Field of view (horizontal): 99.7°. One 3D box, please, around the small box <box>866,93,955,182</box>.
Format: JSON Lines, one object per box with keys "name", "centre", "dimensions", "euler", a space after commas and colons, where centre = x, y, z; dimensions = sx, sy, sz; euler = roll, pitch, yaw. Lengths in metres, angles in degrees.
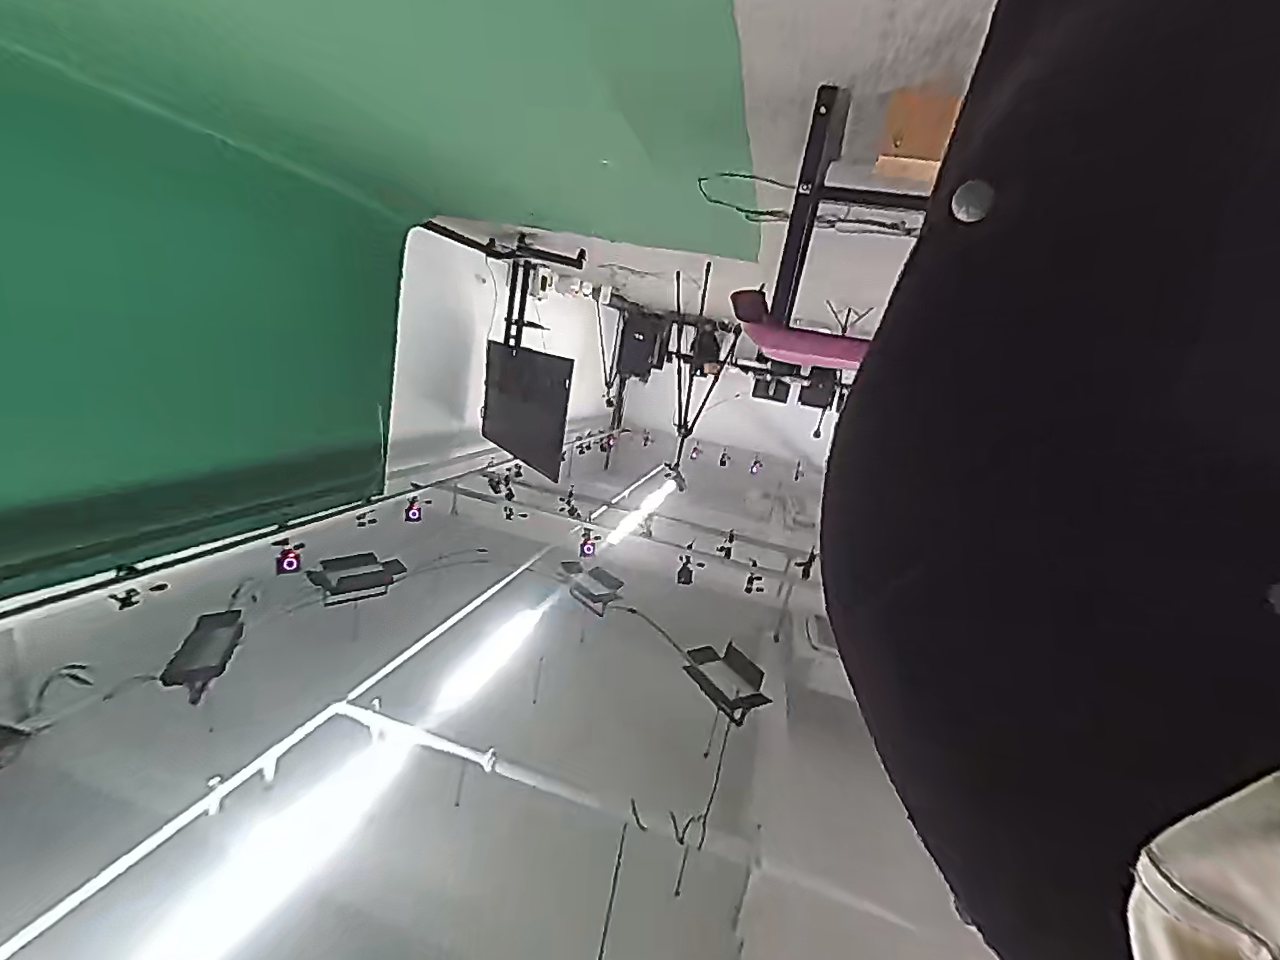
{"name": "small box", "centre": [0.778, -0.986, 1.562], "dimensions": [0.179, 0.176, 0.168], "euler": [14, -167, 11]}
